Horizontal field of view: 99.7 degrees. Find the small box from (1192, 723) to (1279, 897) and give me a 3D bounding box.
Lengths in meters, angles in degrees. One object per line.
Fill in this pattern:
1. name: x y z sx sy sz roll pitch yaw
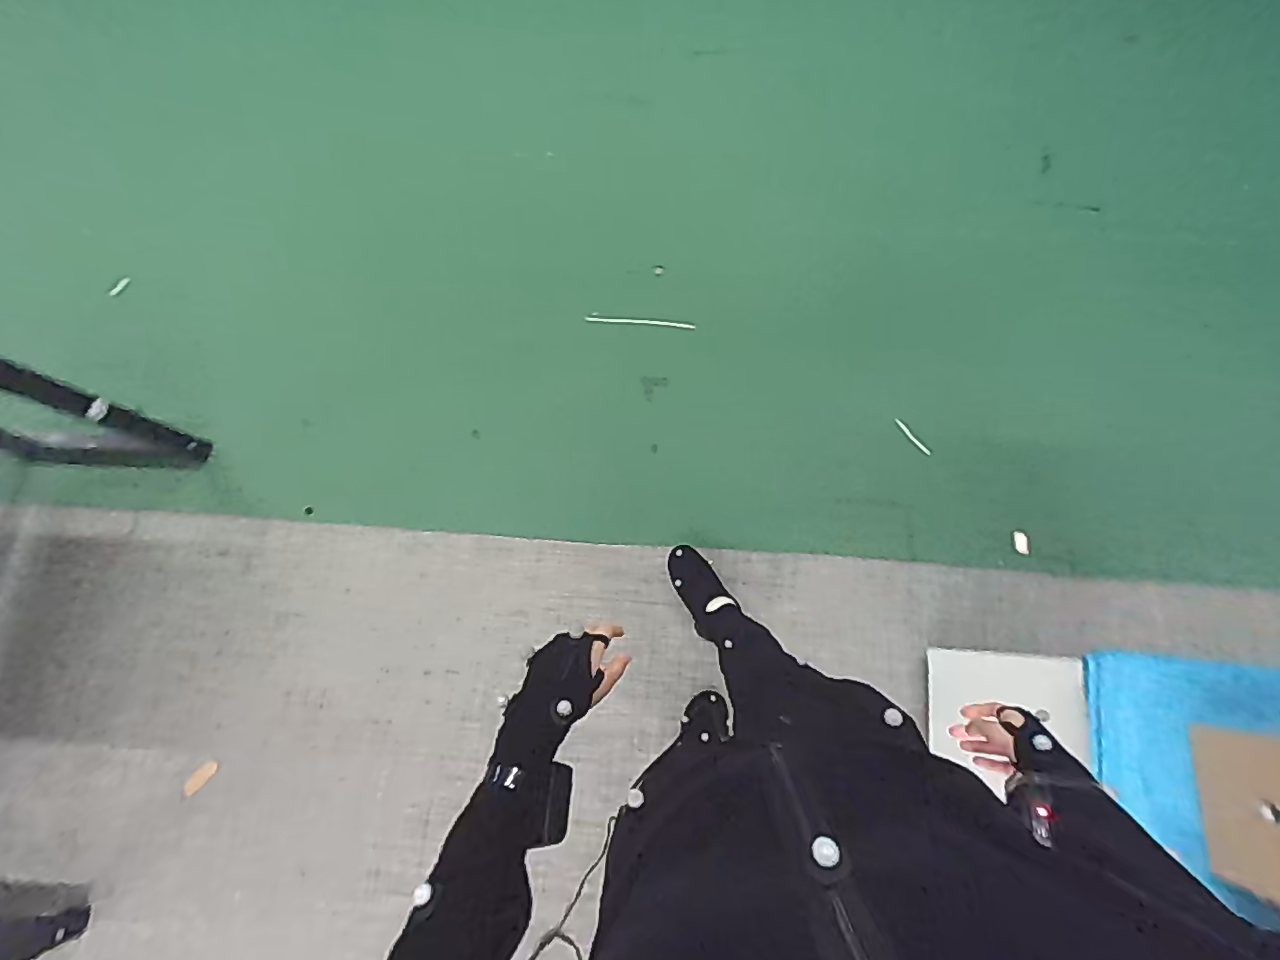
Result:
1. small box: 0.799 0.393 0.616 0.168 0.176 0.179 5 74 2
